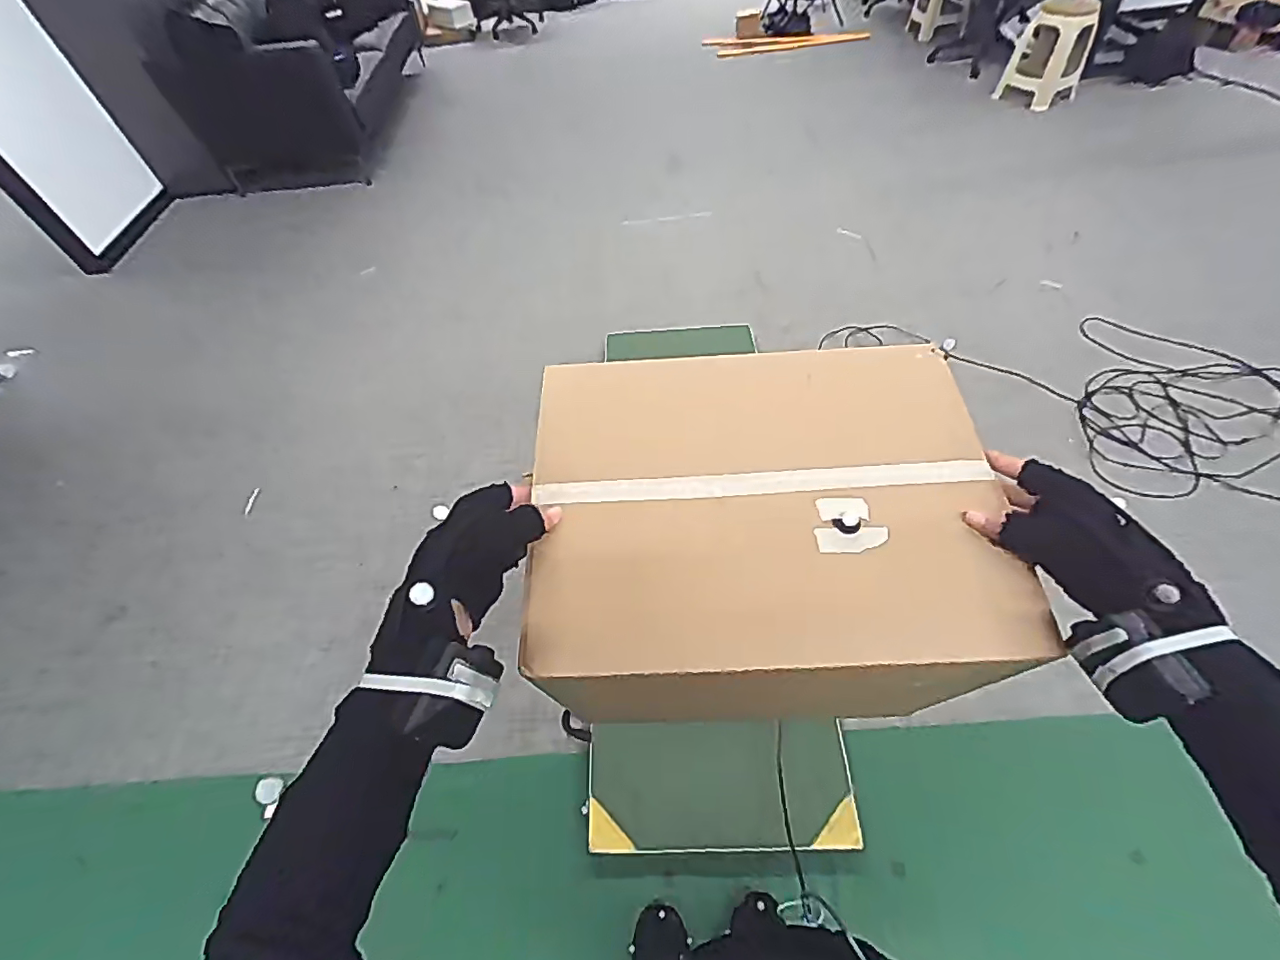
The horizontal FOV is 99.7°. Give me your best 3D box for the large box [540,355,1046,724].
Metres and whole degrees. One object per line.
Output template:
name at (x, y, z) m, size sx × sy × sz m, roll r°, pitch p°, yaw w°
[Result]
large box at (0.116, 0.086, 0.621) m, size 0.408 × 0.320 × 0.320 m, roll -3°, pitch 60°, yaw 1°
